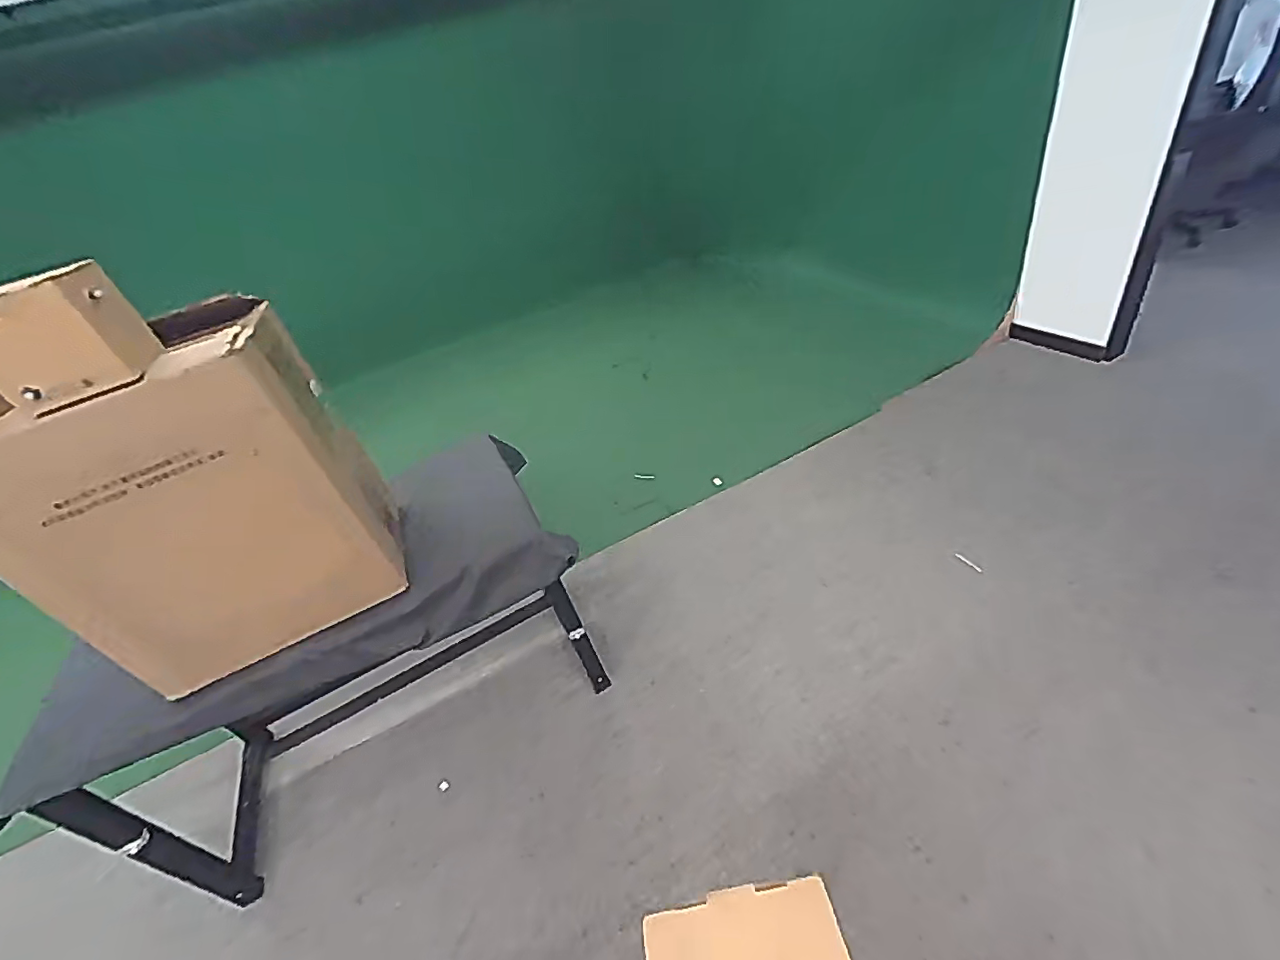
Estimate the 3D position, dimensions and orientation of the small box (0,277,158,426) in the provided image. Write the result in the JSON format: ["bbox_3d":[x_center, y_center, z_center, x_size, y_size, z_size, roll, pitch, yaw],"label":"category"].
[{"bbox_3d":[-0.945,-0.207,0.879,0.168,0.176,0.179,-25,36,-13],"label":"small box"}]

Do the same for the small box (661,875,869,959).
[{"bbox_3d":[0.122,0.479,0.450,0.168,0.176,0.179,-15,33,0],"label":"small box"}]
